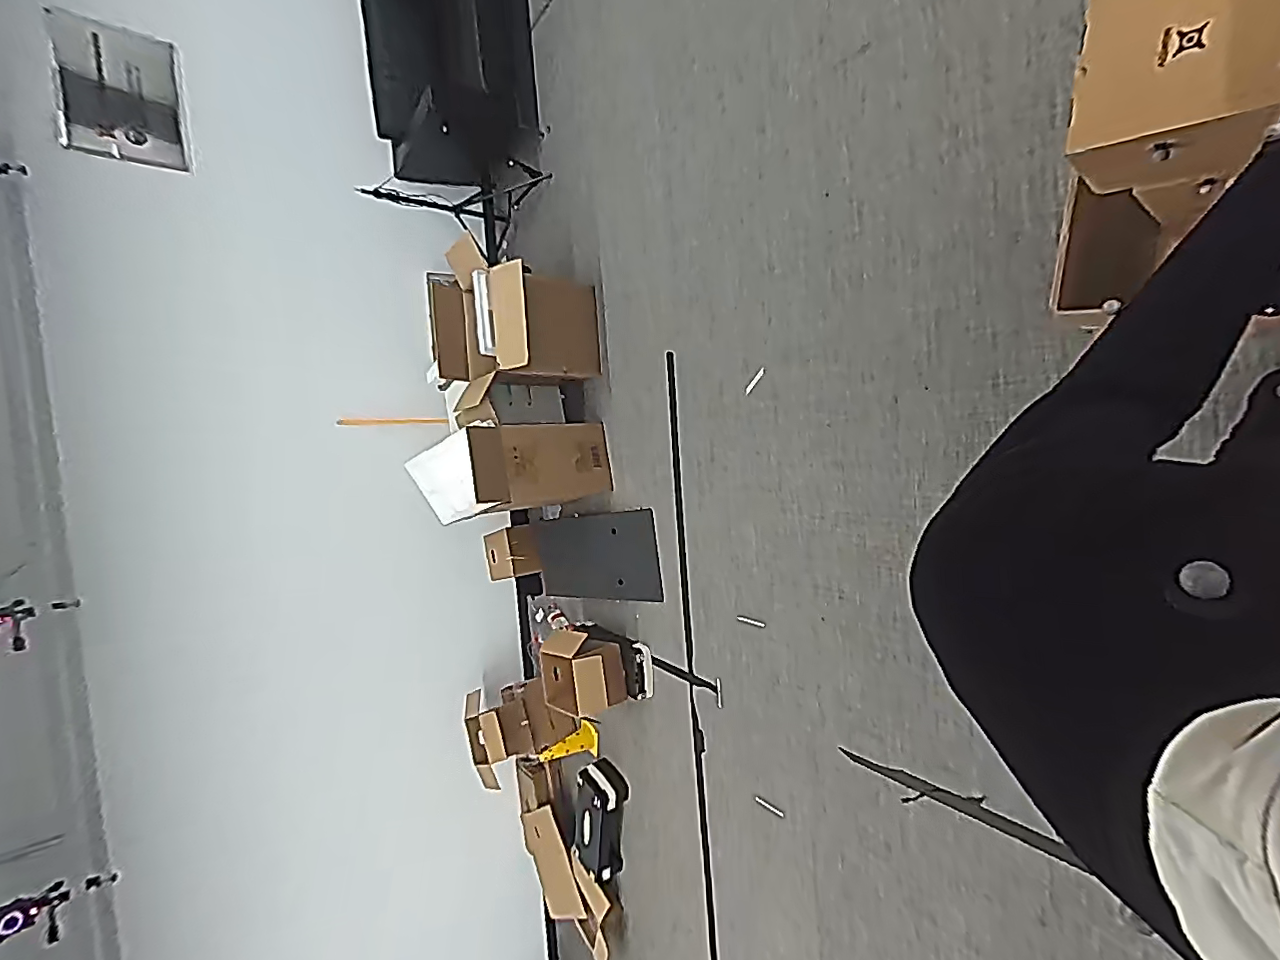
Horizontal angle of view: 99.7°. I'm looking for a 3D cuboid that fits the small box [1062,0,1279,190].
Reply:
[{"bbox_3d":[0.597,-0.435,0.580,0.179,0.176,0.168,15,106,51],"label":"small box"}]
